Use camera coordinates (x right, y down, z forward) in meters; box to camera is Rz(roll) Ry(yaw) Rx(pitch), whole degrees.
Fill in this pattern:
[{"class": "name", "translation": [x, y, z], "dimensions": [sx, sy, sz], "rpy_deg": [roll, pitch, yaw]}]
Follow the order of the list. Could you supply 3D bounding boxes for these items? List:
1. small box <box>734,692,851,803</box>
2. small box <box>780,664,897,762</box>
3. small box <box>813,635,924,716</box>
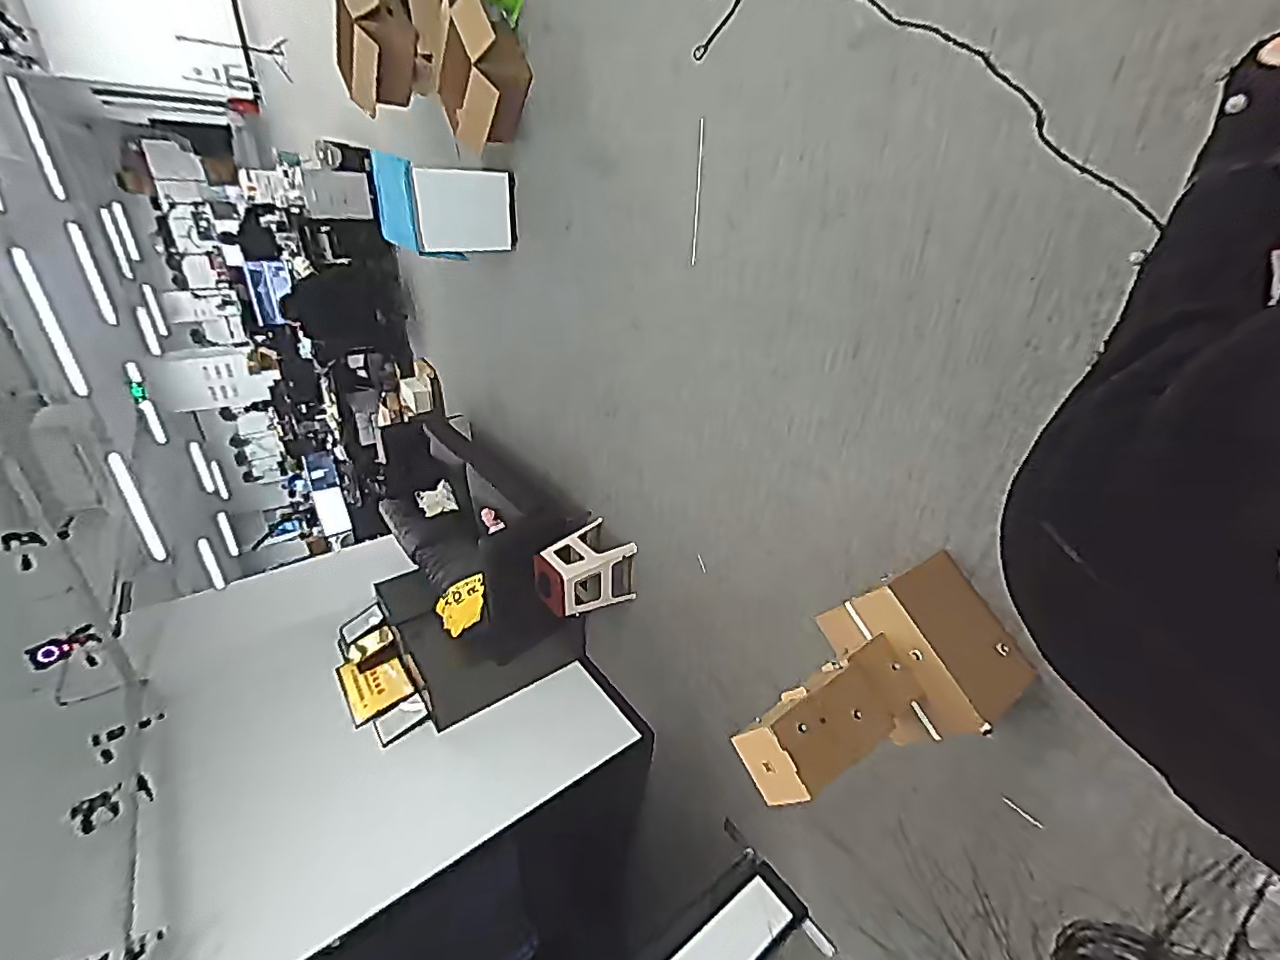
[{"class": "small box", "translation": [0.360, 0.621, 1.264], "dimensions": [0.168, 0.176, 0.179], "rpy_deg": [58, 145, 20]}, {"class": "small box", "translation": [0.493, 0.579, 1.349], "dimensions": [0.179, 0.176, 0.168], "rpy_deg": [58, 145, 17]}, {"class": "small box", "translation": [0.613, 0.538, 1.454], "dimensions": [0.179, 0.176, 0.168], "rpy_deg": [57, 145, 22]}]
